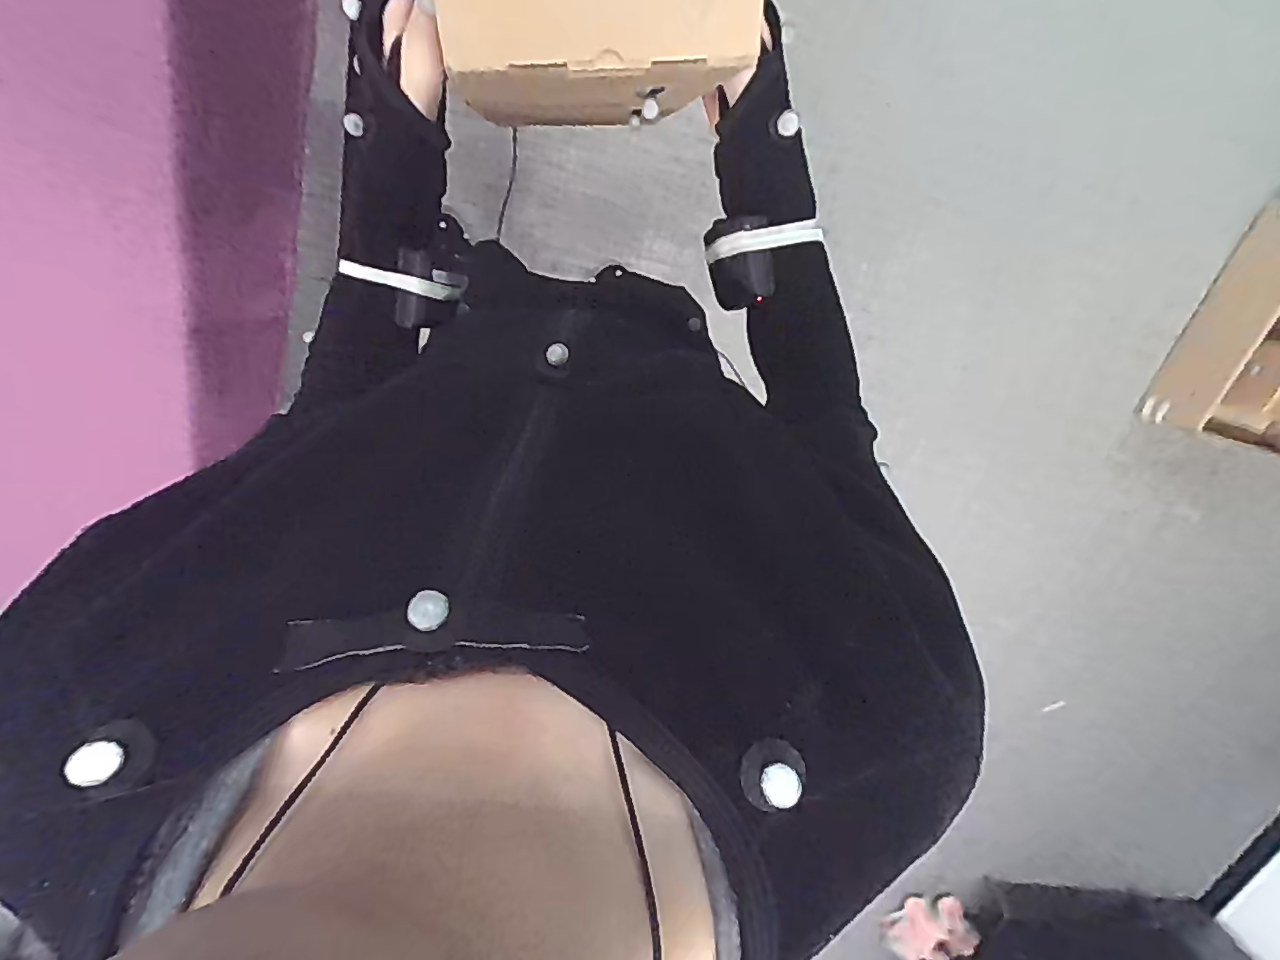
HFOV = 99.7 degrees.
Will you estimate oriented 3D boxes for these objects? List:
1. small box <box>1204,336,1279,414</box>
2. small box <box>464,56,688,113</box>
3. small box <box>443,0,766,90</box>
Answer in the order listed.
[{"bbox_3d":[1.711,-0.283,1.462,0.168,0.176,0.179,11,109,-8],"label":"small box"},{"bbox_3d":[-0.056,-0.412,0.448,0.179,0.176,0.168,-5,119,-8],"label":"small box"},{"bbox_3d":[-0.028,-0.337,0.305,0.168,0.176,0.179,-6,119,-8],"label":"small box"}]
